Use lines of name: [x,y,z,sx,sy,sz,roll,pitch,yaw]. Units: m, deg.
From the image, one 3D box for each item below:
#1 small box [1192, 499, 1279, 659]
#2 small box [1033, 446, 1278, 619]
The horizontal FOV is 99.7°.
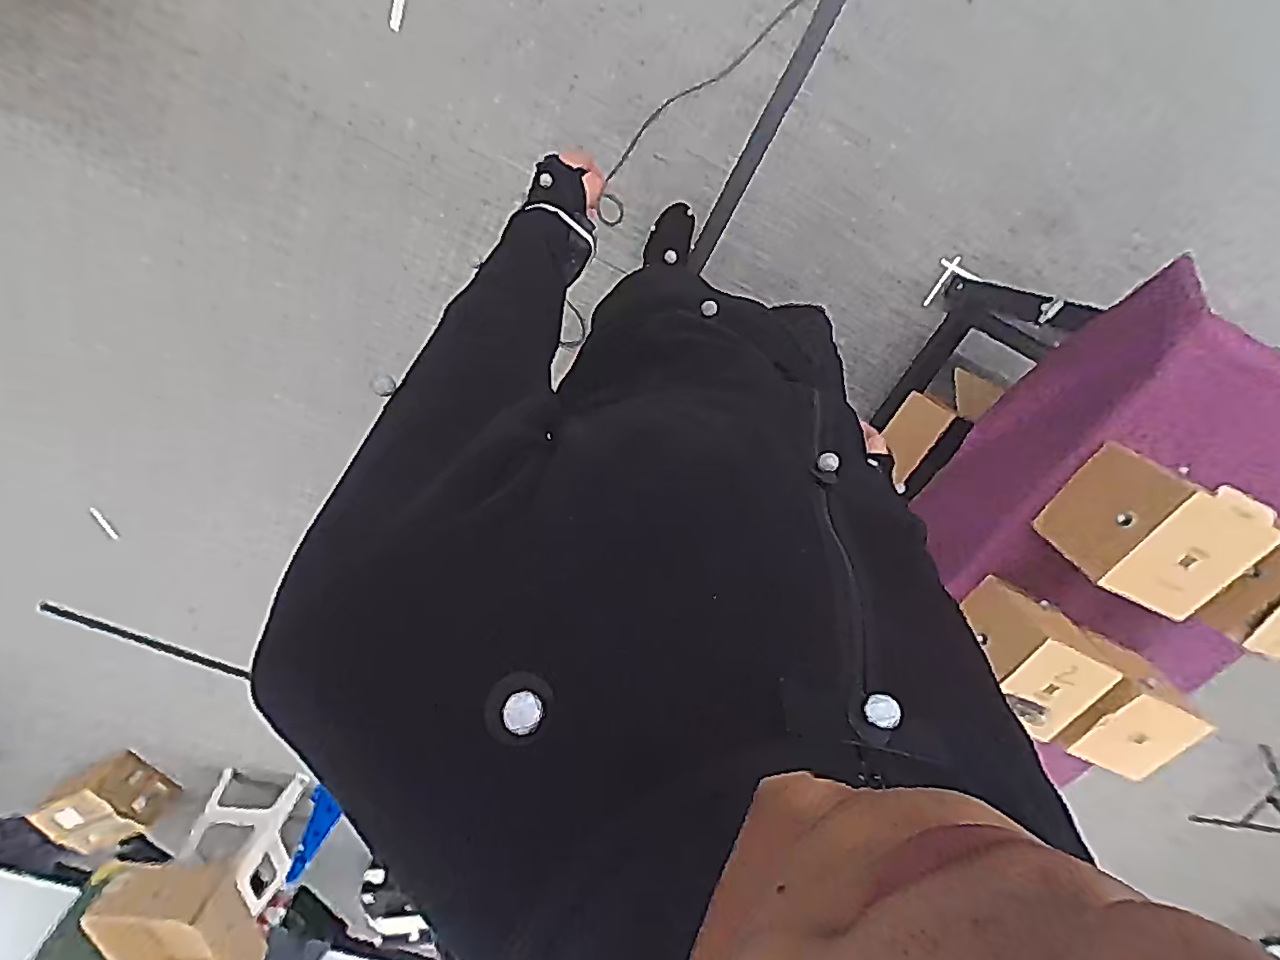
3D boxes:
small box: [0.993,0.157,0.869,0.168,0.176,0.179,22,115,-9]
small box: [0.769,0.073,0.833,0.168,0.176,0.179,23,115,-10]
